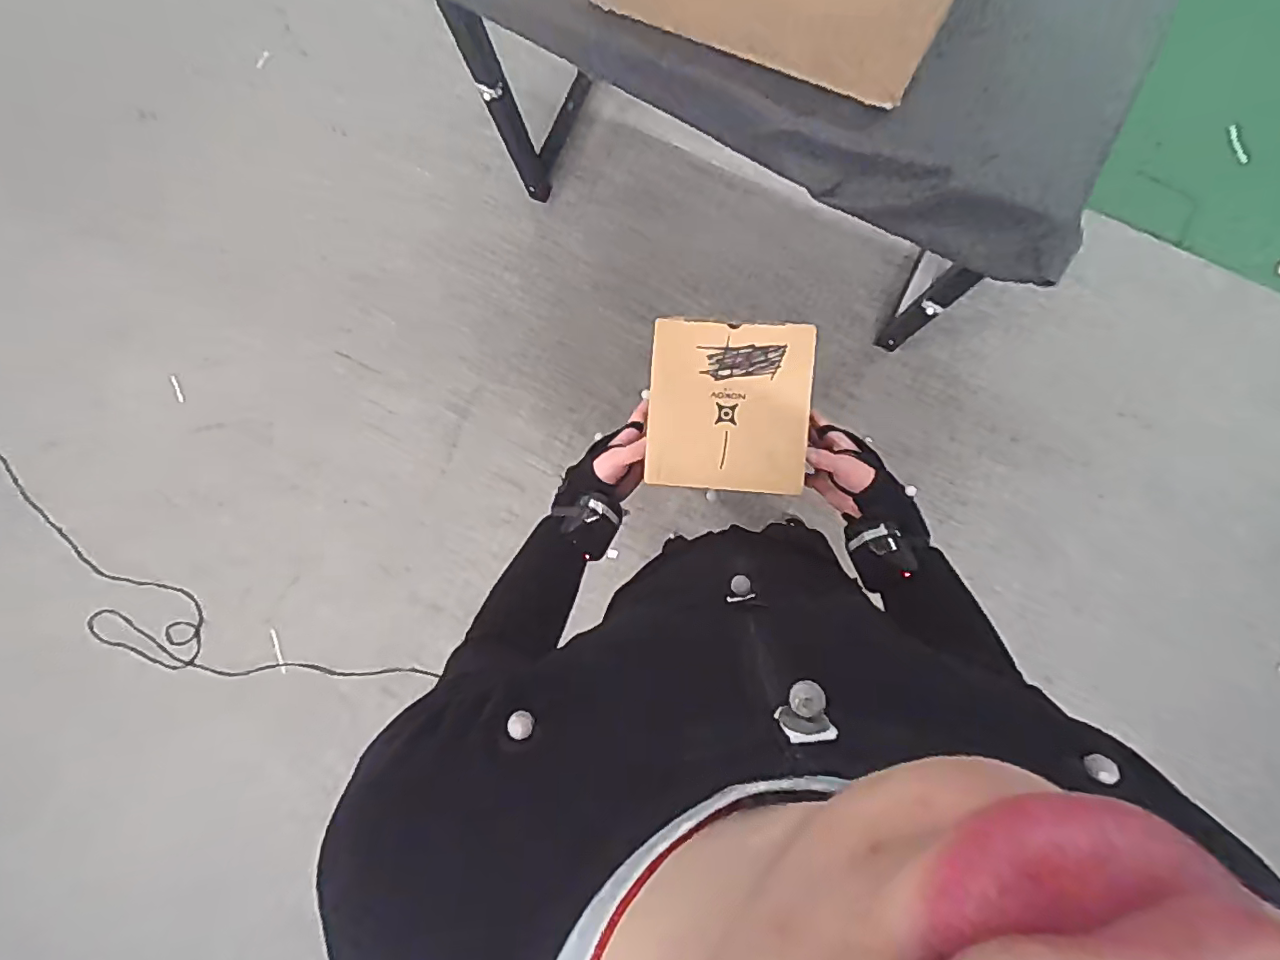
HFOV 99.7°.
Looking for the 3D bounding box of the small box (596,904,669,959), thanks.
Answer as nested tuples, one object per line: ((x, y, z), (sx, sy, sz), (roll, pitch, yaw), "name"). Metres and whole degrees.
((-0.024, 1.298, 1.438), (0.168, 0.176, 0.179), (23, 87, 3), "small box")
